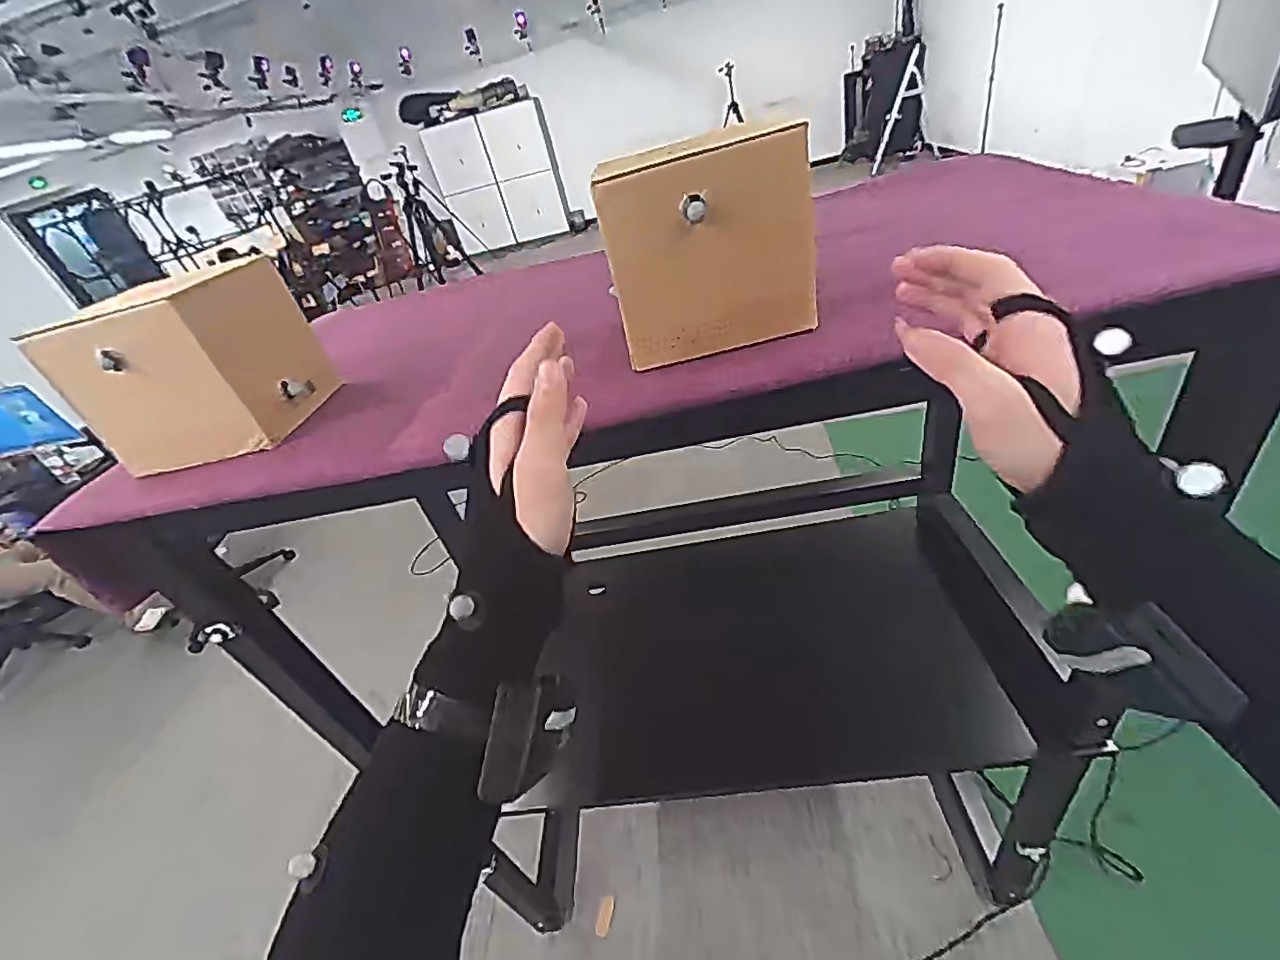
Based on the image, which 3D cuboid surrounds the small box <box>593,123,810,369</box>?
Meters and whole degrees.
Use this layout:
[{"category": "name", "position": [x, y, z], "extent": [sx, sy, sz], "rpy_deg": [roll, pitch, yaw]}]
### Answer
[{"category": "small box", "position": [0.062, -0.232, 0.536], "extent": [0.179, 0.176, 0.168], "rpy_deg": [-13, 33, 6]}]

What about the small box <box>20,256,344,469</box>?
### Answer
[{"category": "small box", "position": [-0.482, -0.128, 0.604], "extent": [0.179, 0.176, 0.168], "rpy_deg": [-10, 35, 7]}]
